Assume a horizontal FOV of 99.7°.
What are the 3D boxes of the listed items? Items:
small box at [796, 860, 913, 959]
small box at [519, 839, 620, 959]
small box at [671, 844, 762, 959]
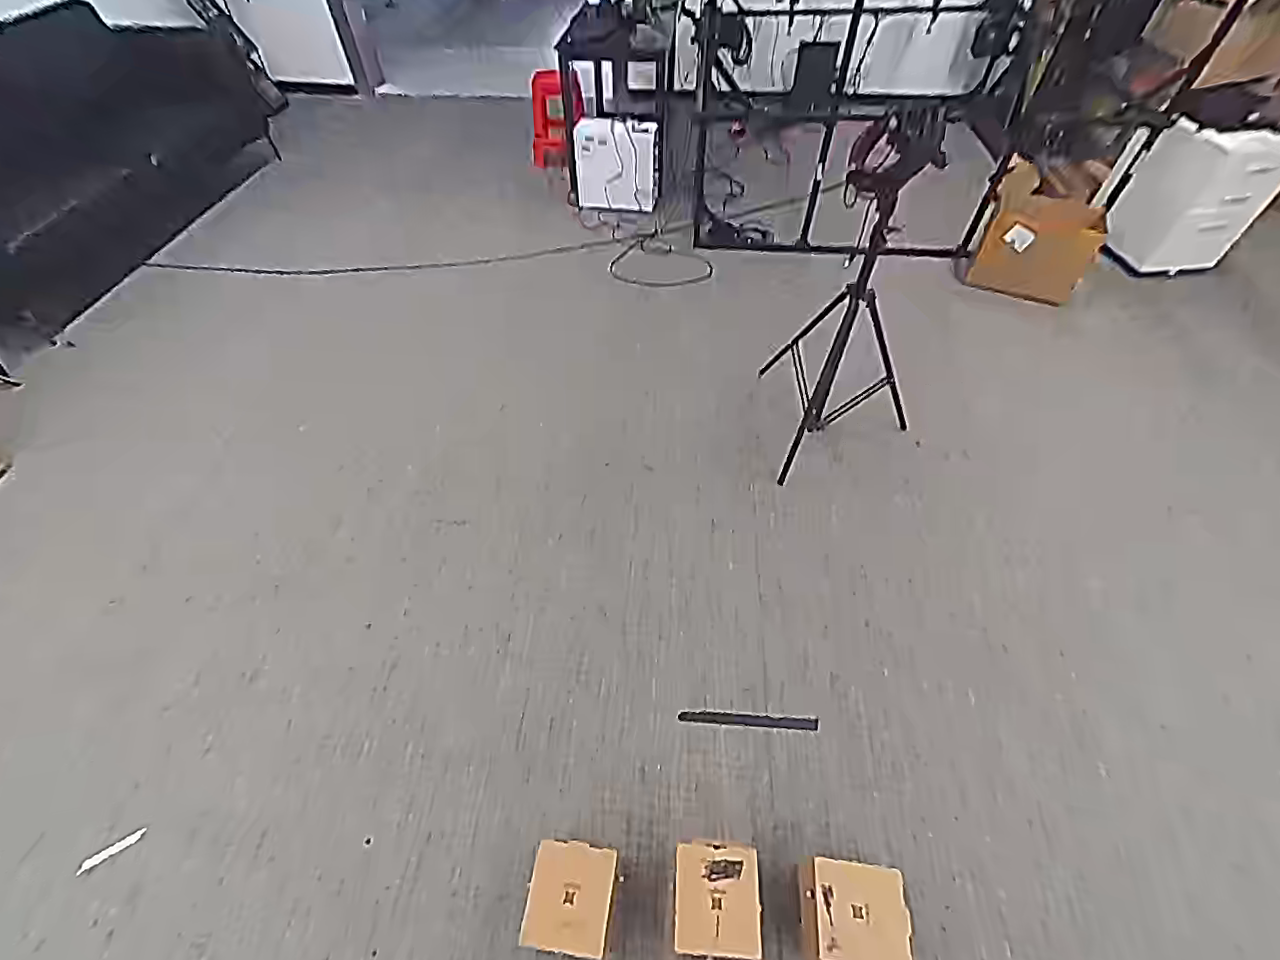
[{"bbox_3d":[0.427,0.890,1.098,0.179,0.176,0.168,6,51,5],"label":"small box"},{"bbox_3d":[-0.136,0.871,1.123,0.168,0.176,0.179,5,52,7],"label":"small box"},{"bbox_3d":[0.151,0.871,1.115,0.168,0.176,0.179,3,52,3],"label":"small box"}]
